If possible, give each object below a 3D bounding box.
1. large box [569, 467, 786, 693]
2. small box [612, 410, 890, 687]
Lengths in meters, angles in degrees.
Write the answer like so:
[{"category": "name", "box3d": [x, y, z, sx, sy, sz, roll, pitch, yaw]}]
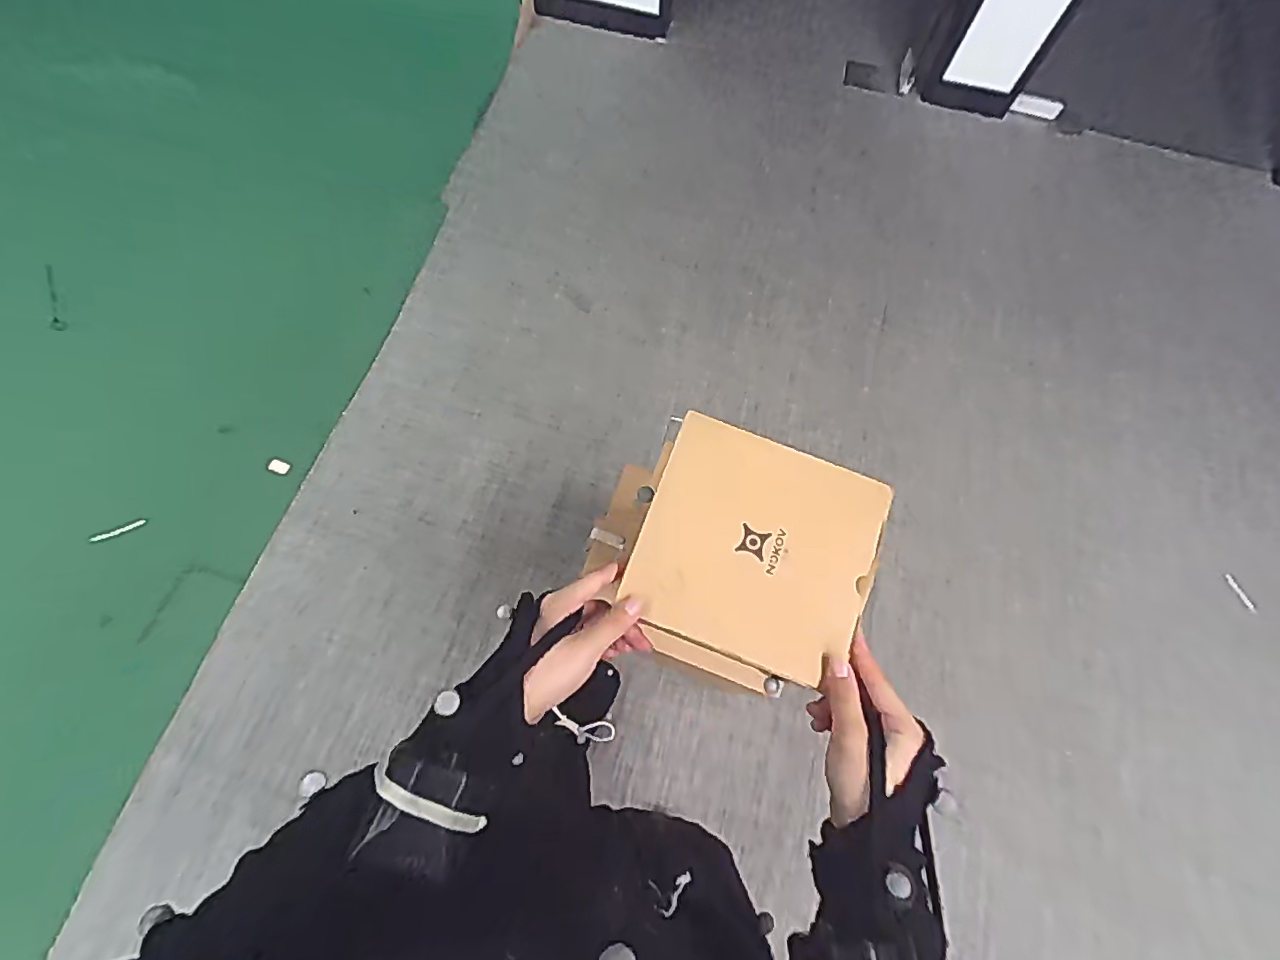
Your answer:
[{"category": "large box", "box3d": [0.097, 0.220, 1.134, 0.408, 0.320, 0.320, 21, 72, 3]}, {"category": "small box", "box3d": [0.083, 0.067, 0.482, 0.179, 0.176, 0.168, 21, 75, 2]}]
